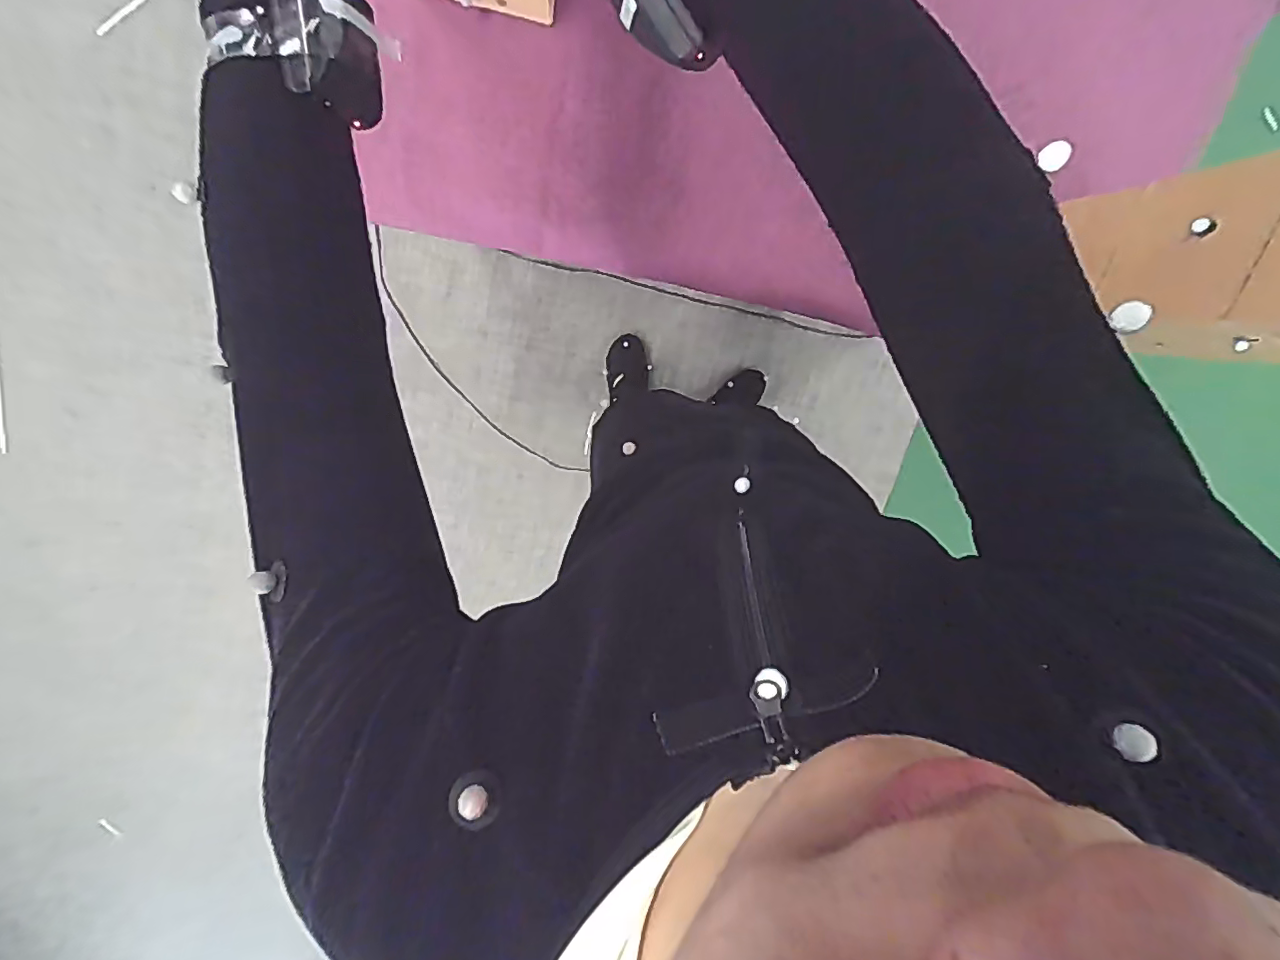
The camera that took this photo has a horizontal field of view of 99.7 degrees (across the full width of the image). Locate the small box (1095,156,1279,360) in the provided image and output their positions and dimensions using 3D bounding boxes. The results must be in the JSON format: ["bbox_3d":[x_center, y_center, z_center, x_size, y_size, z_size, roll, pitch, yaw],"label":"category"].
[{"bbox_3d":[0.687,-0.247,0.620,0.168,0.176,0.179,15,104,-9],"label":"small box"}]

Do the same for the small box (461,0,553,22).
[{"bbox_3d":[-0.170,-0.652,0.579,0.168,0.176,0.179,8,107,-8],"label":"small box"}]

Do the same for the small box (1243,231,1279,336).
[{"bbox_3d":[0.703,-0.203,0.461,0.168,0.176,0.179,14,105,-9],"label":"small box"}]
